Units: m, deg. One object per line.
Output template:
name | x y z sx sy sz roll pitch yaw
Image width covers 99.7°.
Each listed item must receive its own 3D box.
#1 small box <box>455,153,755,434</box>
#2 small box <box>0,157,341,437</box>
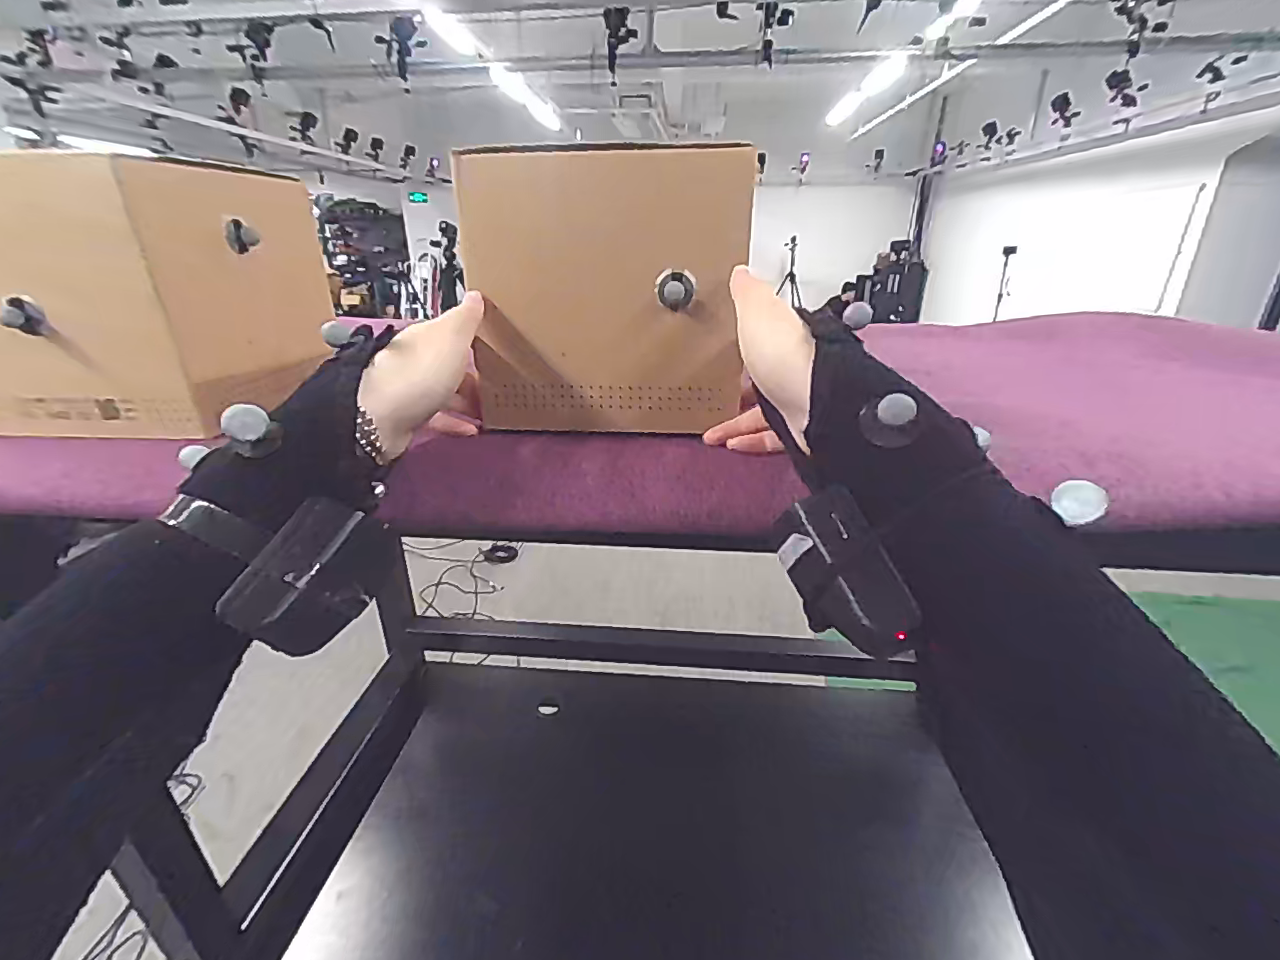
small box | -0.015 -0.134 0.410 0.179 0.176 0.168 0 20 4
small box | -0.359 -0.137 0.411 0.168 0.176 0.179 2 24 2
